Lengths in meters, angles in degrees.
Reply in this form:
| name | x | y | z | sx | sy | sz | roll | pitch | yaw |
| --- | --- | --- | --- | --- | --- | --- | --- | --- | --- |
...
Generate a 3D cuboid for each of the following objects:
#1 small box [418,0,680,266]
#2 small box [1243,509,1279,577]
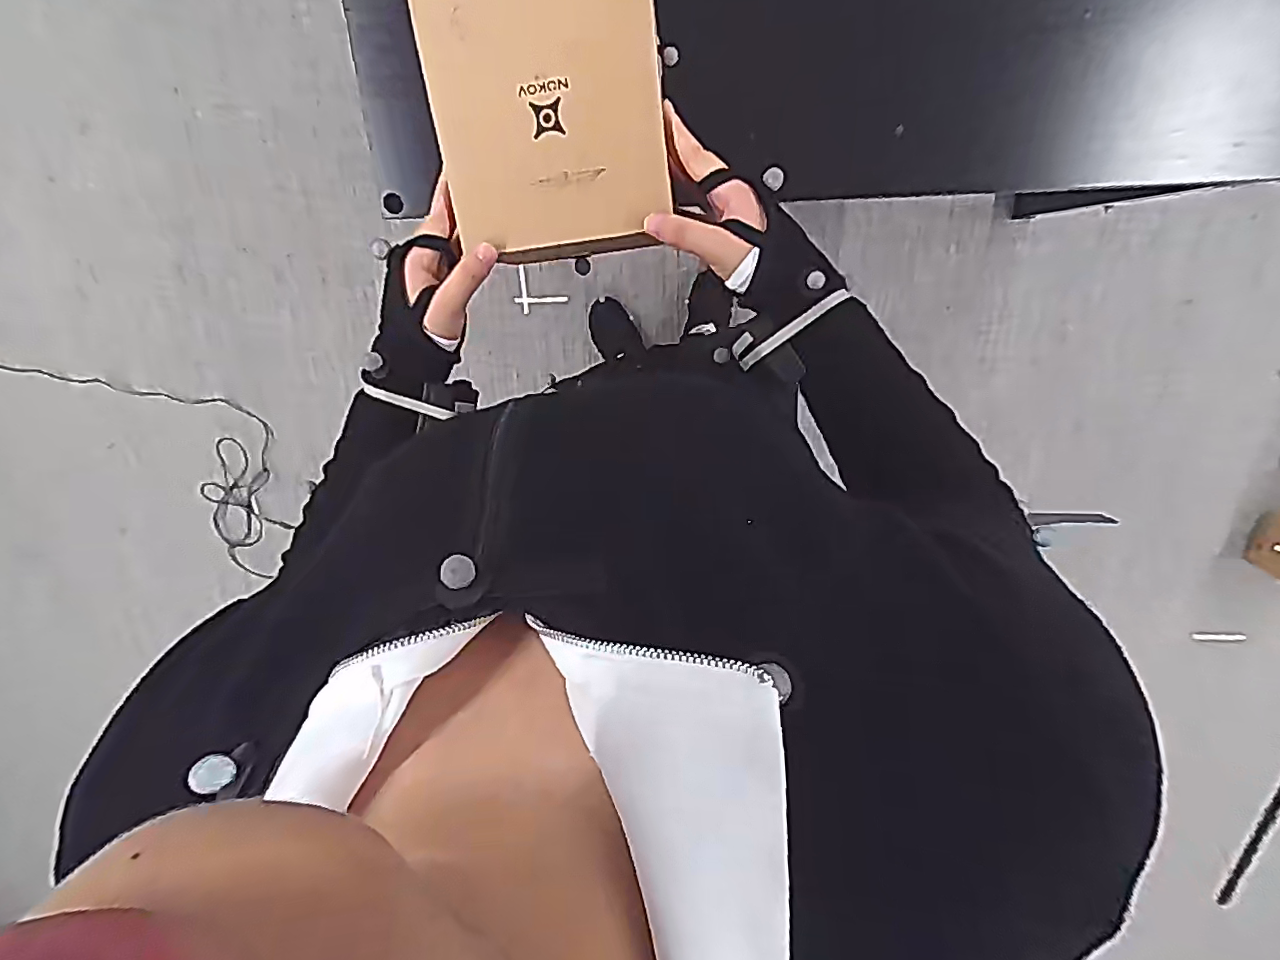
| name | x | y | z | sx | sy | sz | roll | pitch | yaw |
| --- | --- | --- | --- | --- | --- | --- | --- | --- | --- |
| small box | -0.056 | -0.286 | 0.456 | 0.168 | 0.176 | 0.179 | -5 | 110 | 7 |
| small box | 1.804 | 0.184 | 1.445 | 0.179 | 0.176 | 0.168 | 1 | 111 | 3 |
